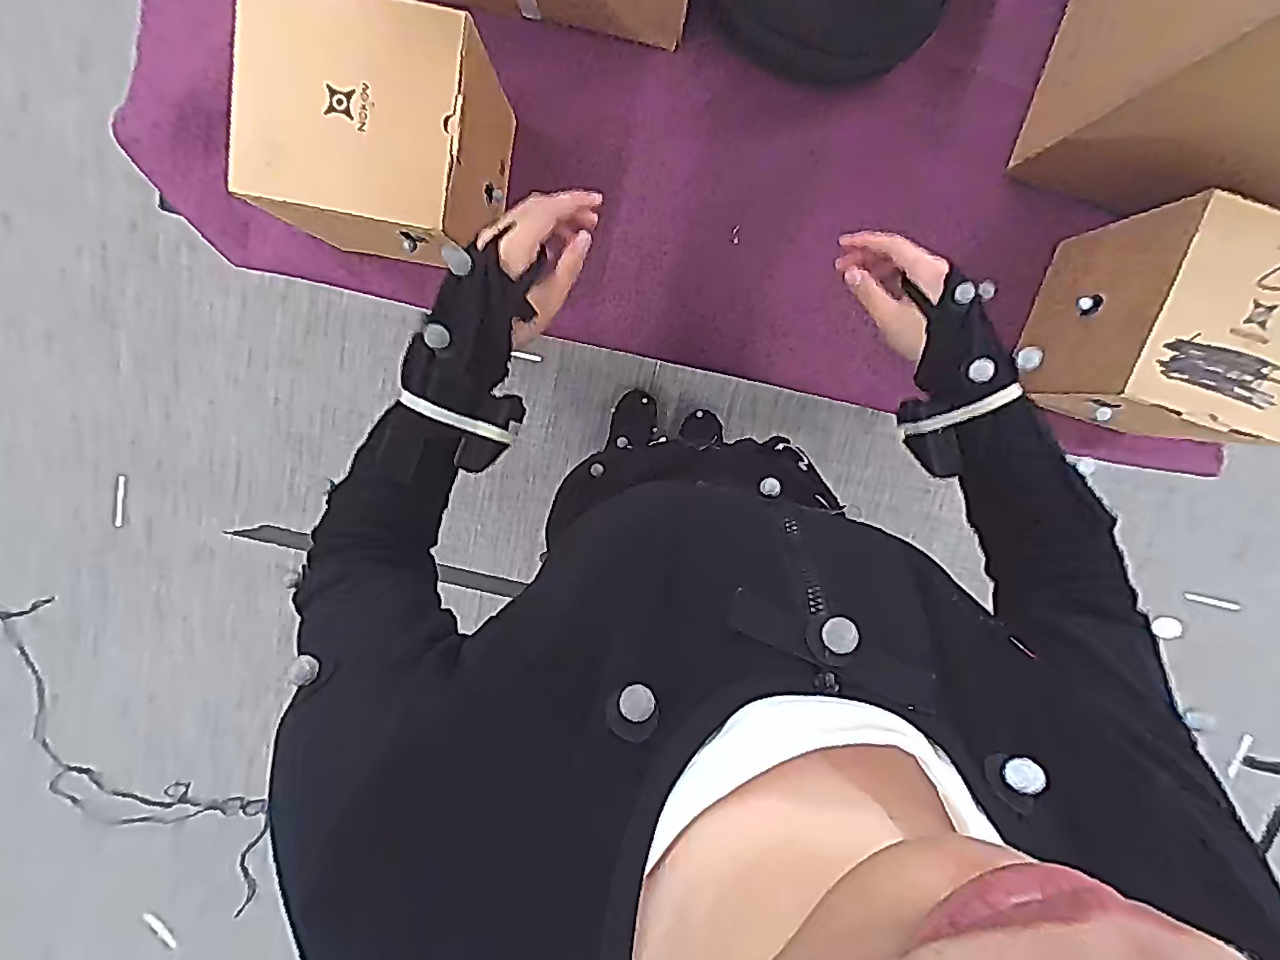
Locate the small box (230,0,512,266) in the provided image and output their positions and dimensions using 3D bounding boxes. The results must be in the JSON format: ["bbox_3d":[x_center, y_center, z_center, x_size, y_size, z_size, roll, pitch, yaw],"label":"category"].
[{"bbox_3d":[-0.232,-0.311,0.504,0.179,0.176,0.168,9,99,-3],"label":"small box"}]

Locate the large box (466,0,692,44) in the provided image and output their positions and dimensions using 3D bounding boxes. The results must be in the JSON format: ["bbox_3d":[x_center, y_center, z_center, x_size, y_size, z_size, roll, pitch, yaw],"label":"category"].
[{"bbox_3d":[-0.068,-0.641,0.376,0.320,0.320,0.408,10,102,-2],"label":"large box"}]
